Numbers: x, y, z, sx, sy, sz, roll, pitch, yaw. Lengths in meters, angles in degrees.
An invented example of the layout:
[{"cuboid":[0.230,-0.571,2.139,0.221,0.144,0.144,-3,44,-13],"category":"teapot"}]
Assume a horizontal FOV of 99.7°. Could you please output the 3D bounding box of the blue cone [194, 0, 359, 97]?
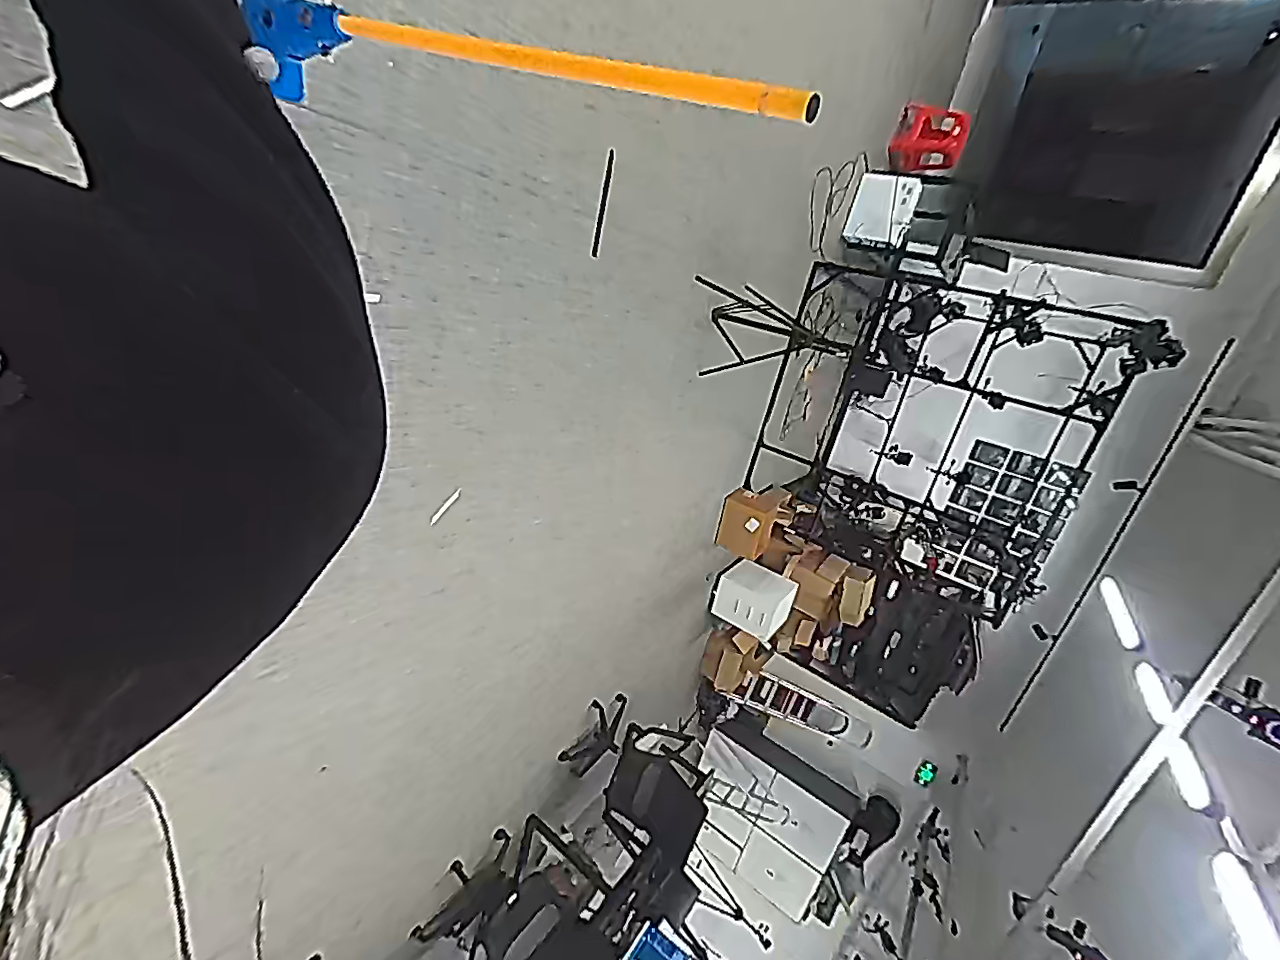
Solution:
[{"cuboid":[-0.627,-0.820,0.979,0.193,0.380,0.192,-21,128,-53],"category":"blue cone"}]
